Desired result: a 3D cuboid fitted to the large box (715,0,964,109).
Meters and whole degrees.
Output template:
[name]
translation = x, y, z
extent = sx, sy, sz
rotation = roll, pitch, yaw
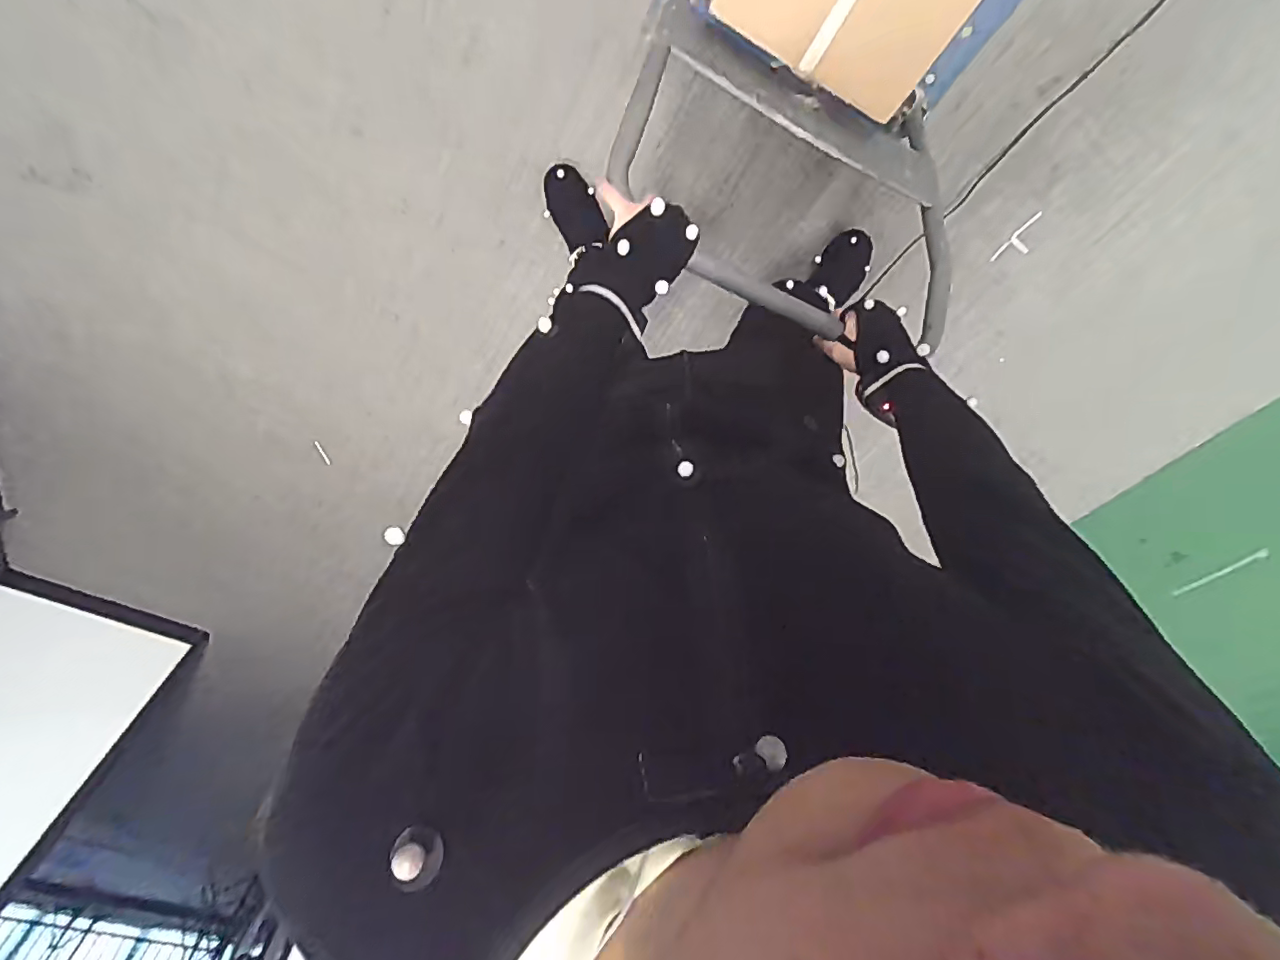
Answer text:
[large box]
translation = 0.337, -0.832, 0.725
extent = 0.320, 0.320, 0.408
rotation = 22, 143, -15
